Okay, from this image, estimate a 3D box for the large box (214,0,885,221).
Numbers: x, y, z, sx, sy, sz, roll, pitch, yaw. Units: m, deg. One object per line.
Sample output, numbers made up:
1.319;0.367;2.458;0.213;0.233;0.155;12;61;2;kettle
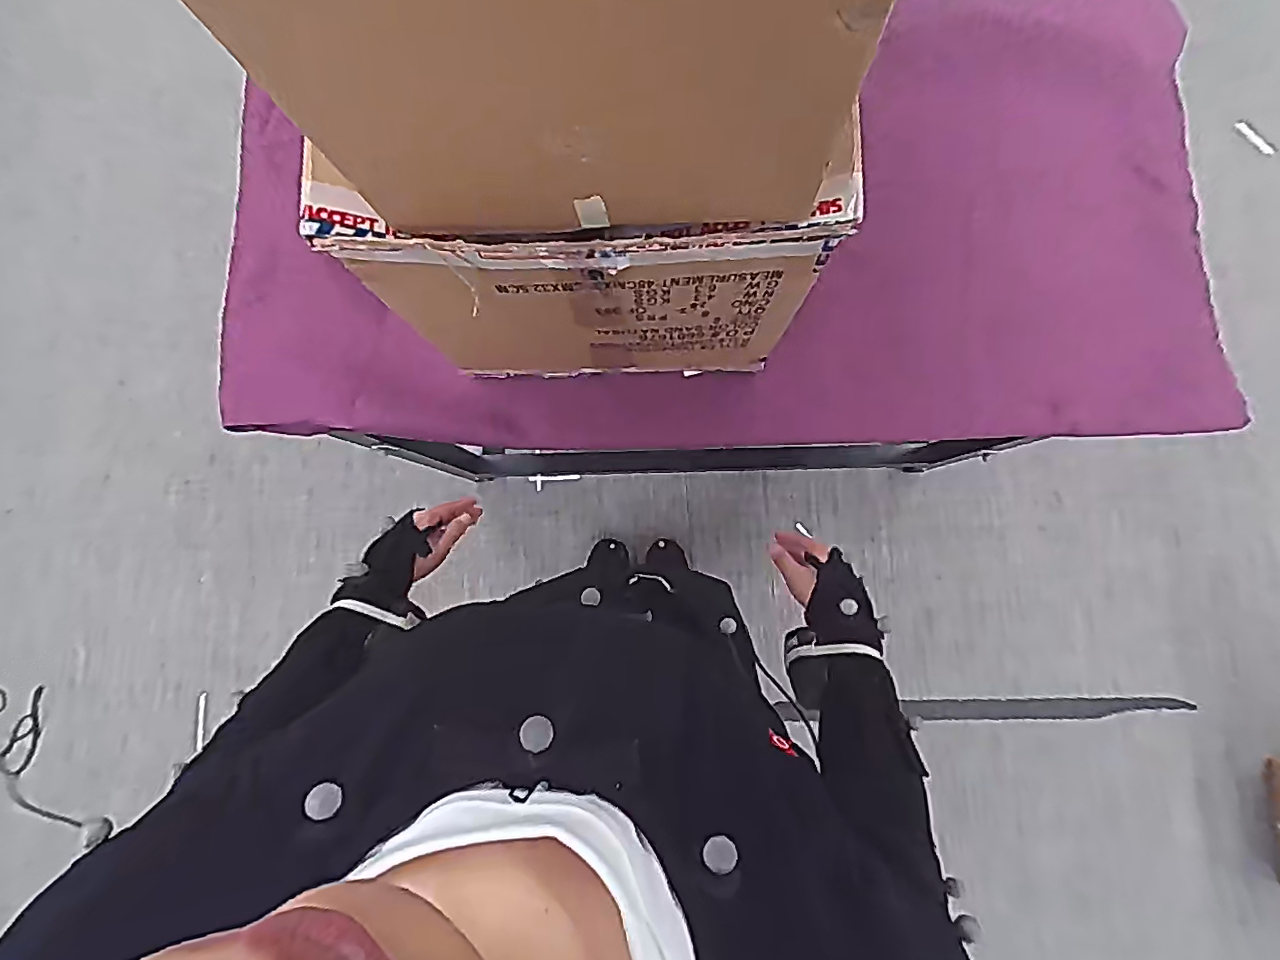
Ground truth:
-0.042;-0.407;0.268;0.320;0.320;0.408;-1;84;5;large box
